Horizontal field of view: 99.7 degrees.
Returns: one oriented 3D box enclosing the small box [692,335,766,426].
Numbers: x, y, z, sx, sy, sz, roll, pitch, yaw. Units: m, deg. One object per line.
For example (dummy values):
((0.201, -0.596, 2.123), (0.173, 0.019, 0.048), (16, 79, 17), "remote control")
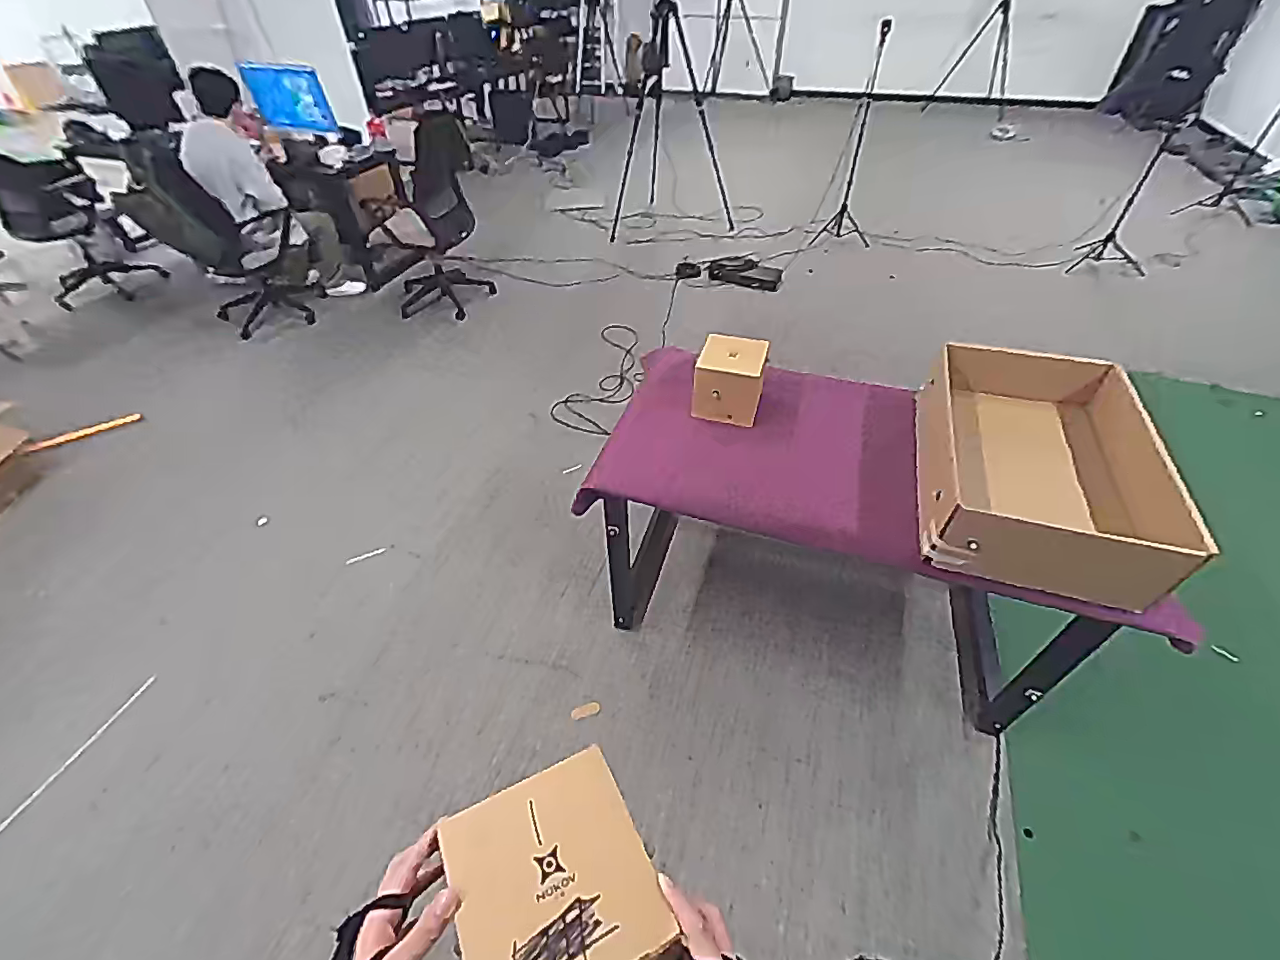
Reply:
((0.238, -0.267, 1.464), (0.168, 0.176, 0.179), (12, 45, 13), "small box")
